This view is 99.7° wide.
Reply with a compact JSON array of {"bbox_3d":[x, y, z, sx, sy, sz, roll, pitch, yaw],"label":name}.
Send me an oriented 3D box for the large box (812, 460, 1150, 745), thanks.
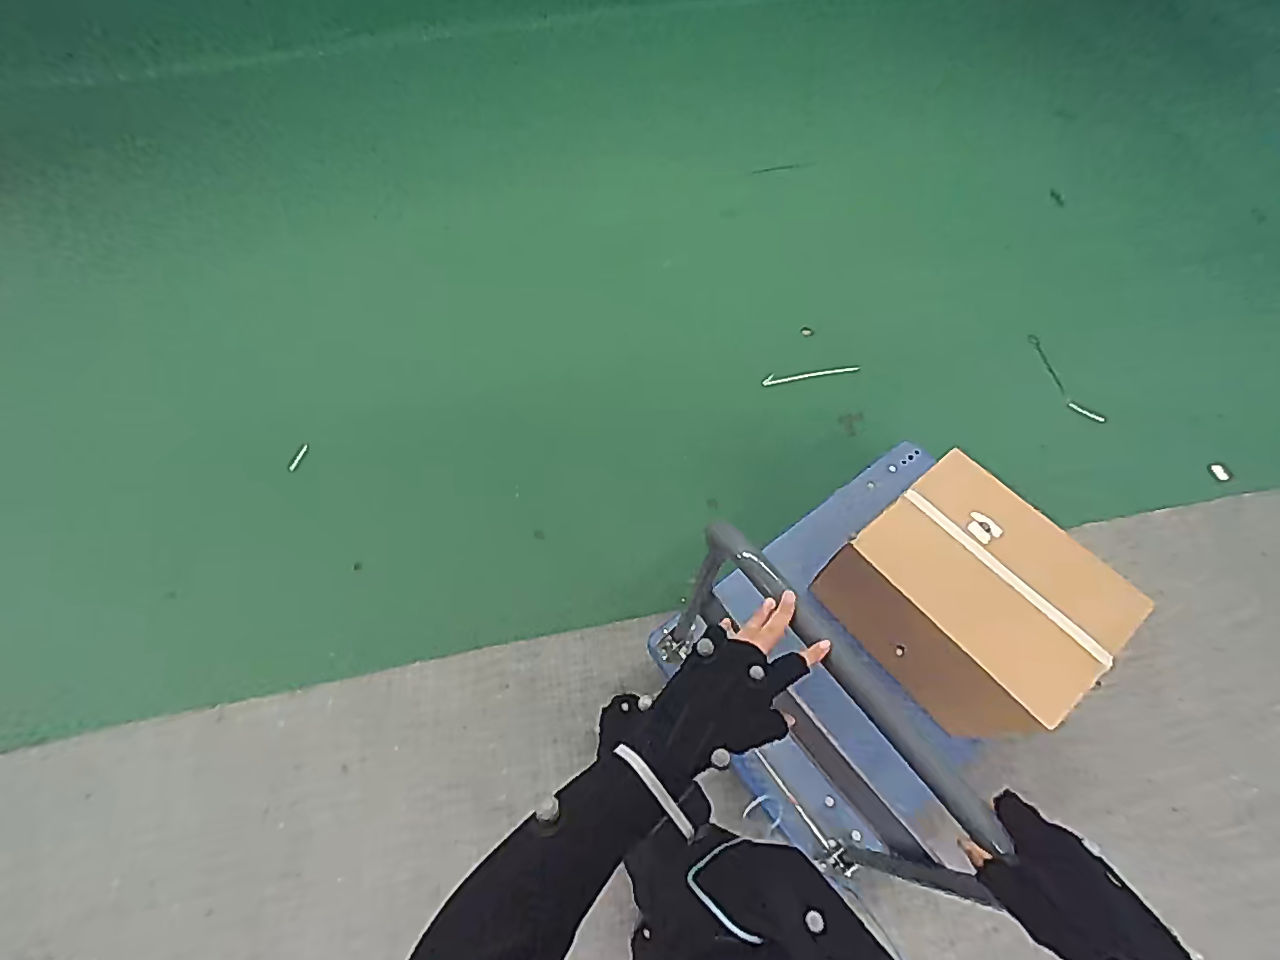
[{"bbox_3d":[0.619,0.247,1.067,0.320,0.320,0.408,-36,65,-16],"label":"large box"}]
